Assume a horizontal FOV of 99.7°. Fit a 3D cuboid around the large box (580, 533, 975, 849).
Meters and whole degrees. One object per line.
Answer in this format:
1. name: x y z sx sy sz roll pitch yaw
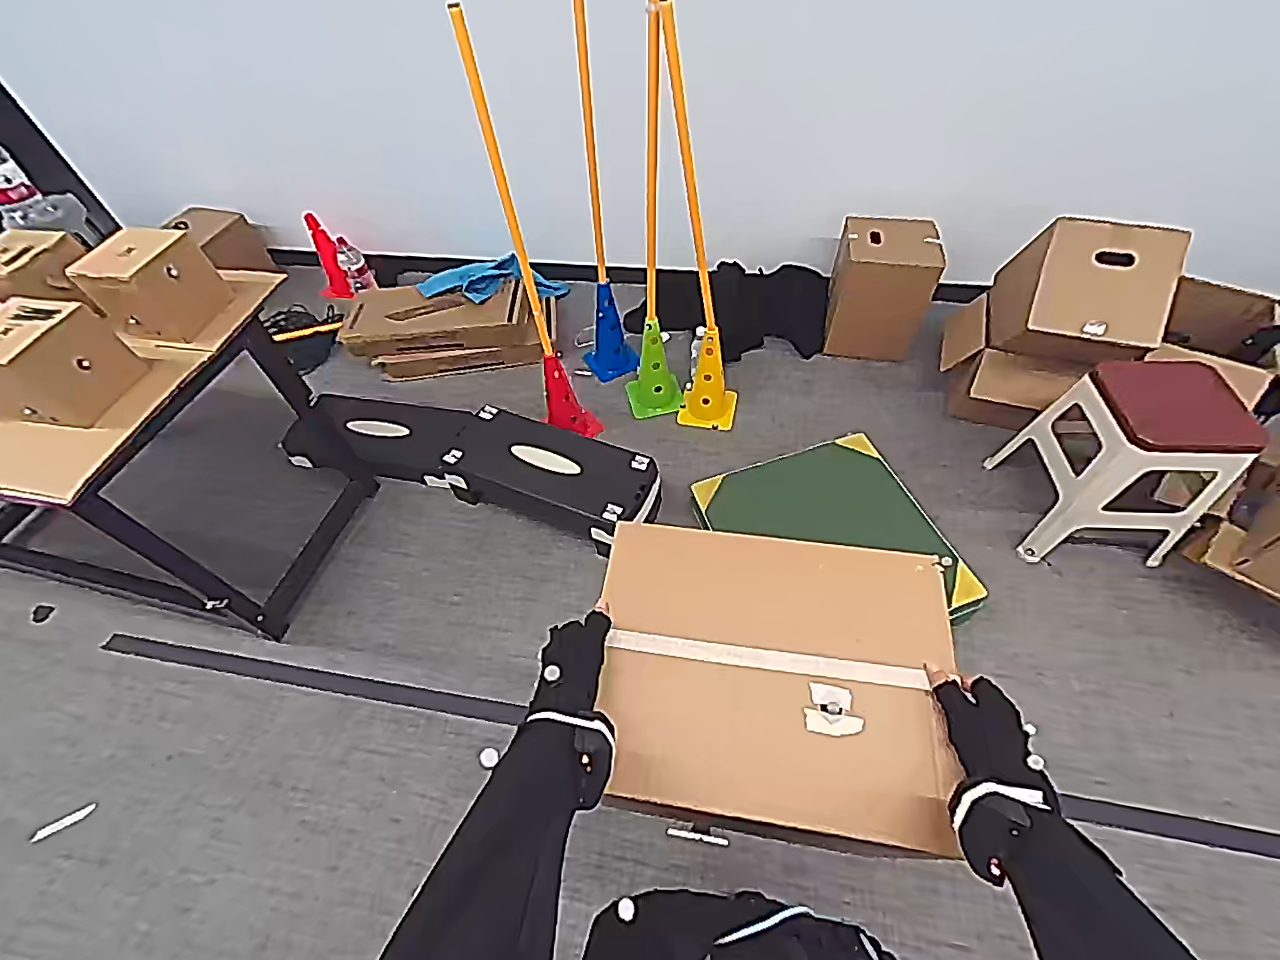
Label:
1. large box: 0.156 0.297 0.750 0.408 0.320 0.320 6 57 7
